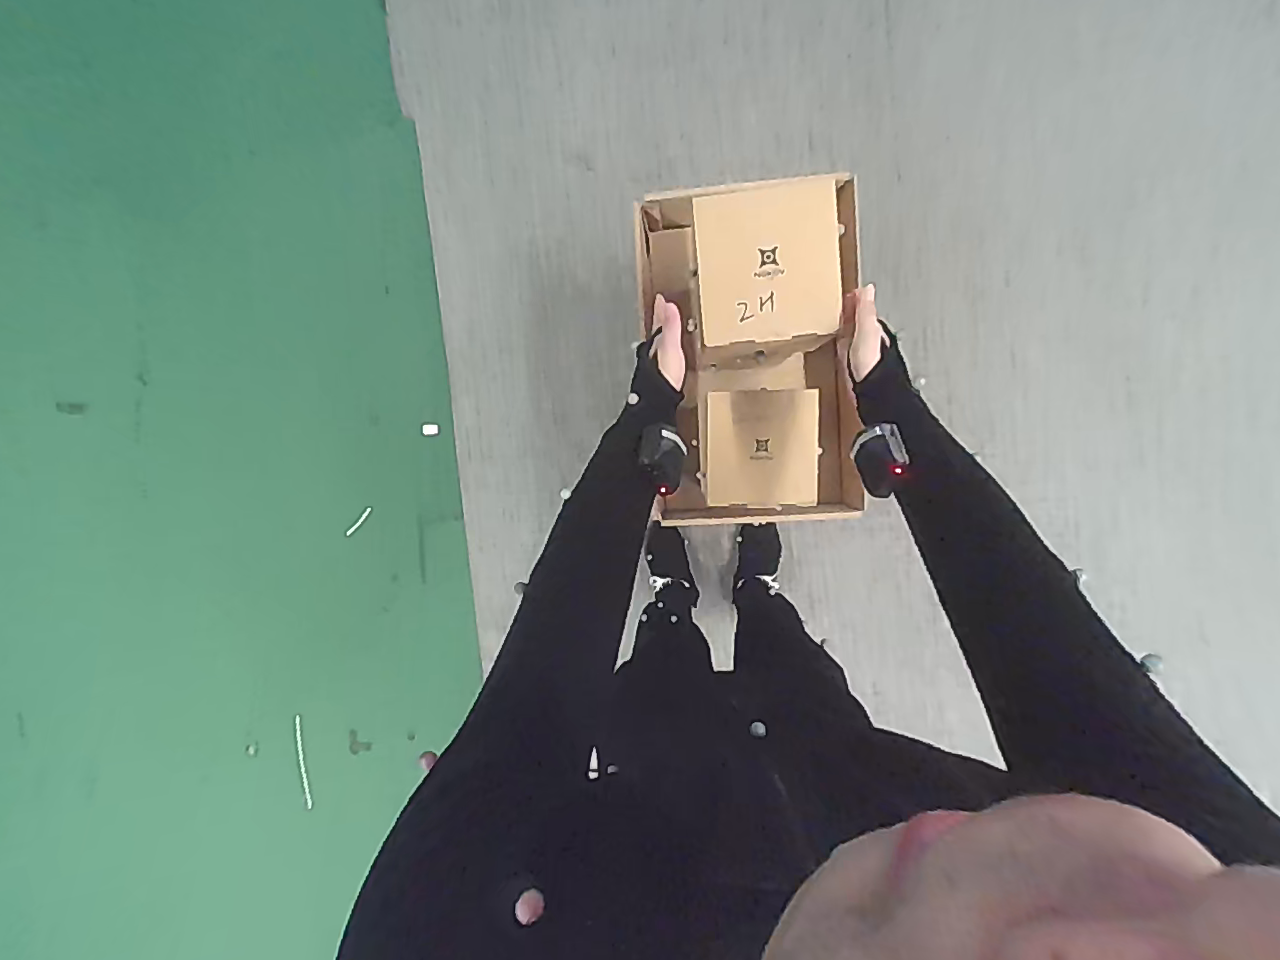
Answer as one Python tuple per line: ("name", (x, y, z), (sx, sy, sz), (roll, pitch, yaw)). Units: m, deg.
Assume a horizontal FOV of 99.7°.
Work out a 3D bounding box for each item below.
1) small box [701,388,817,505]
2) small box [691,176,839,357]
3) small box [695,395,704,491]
("small box", (0.187, -0.056, 0.884), (0.168, 0.176, 0.179), (0, 93, 5))
("small box", (0.154, -0.266, 0.712), (0.168, 0.176, 0.179), (-4, 96, 6))
("small box", (0.193, -0.074, 1.046), (0.168, 0.176, 0.179), (-2, 92, 5))
